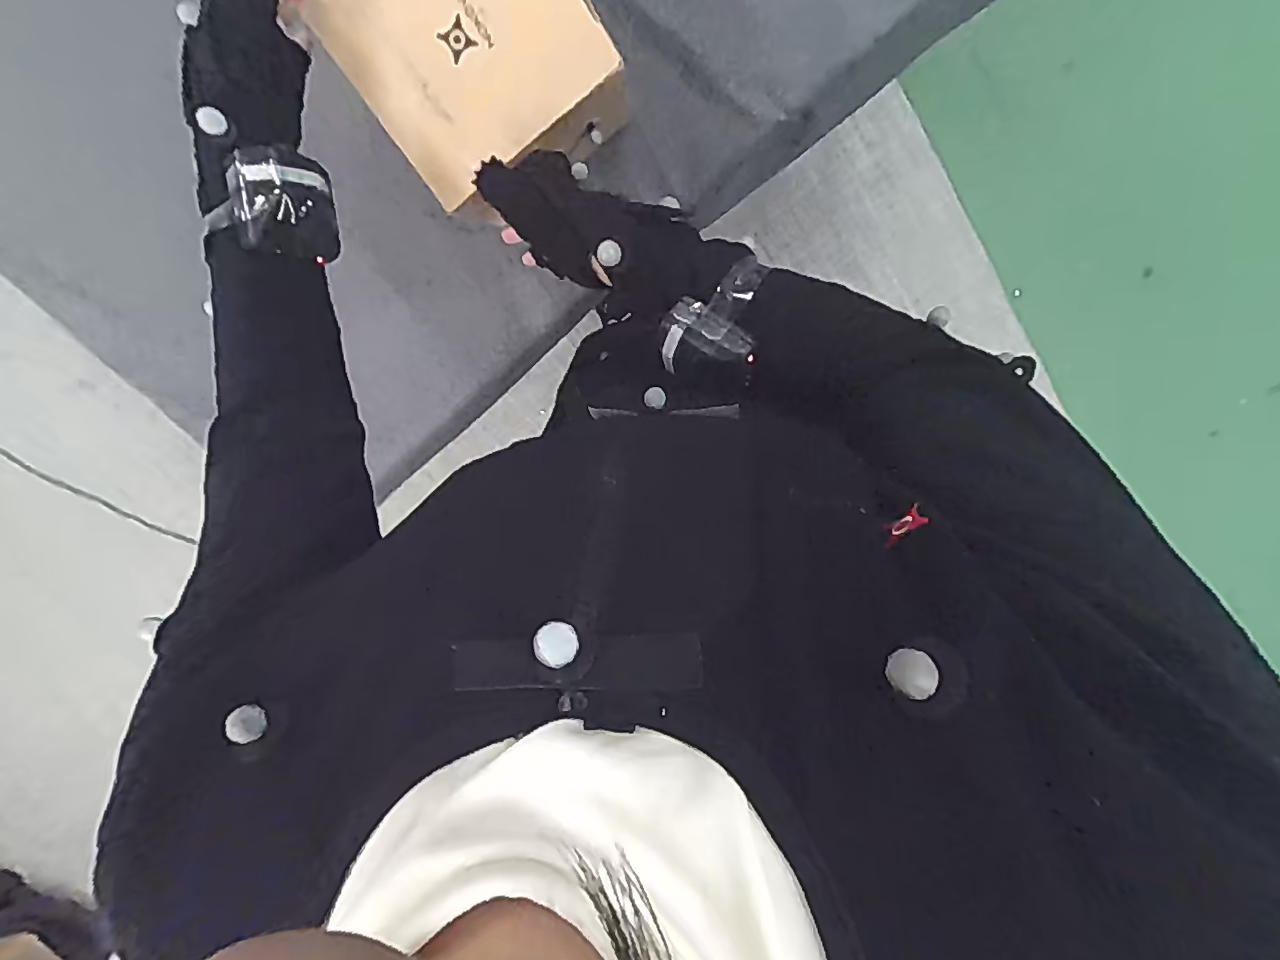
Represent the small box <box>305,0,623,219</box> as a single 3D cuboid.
[{"bbox_3d":[-0.128,-0.356,0.470,0.179,0.176,0.168,-34,106,14],"label":"small box"}]
